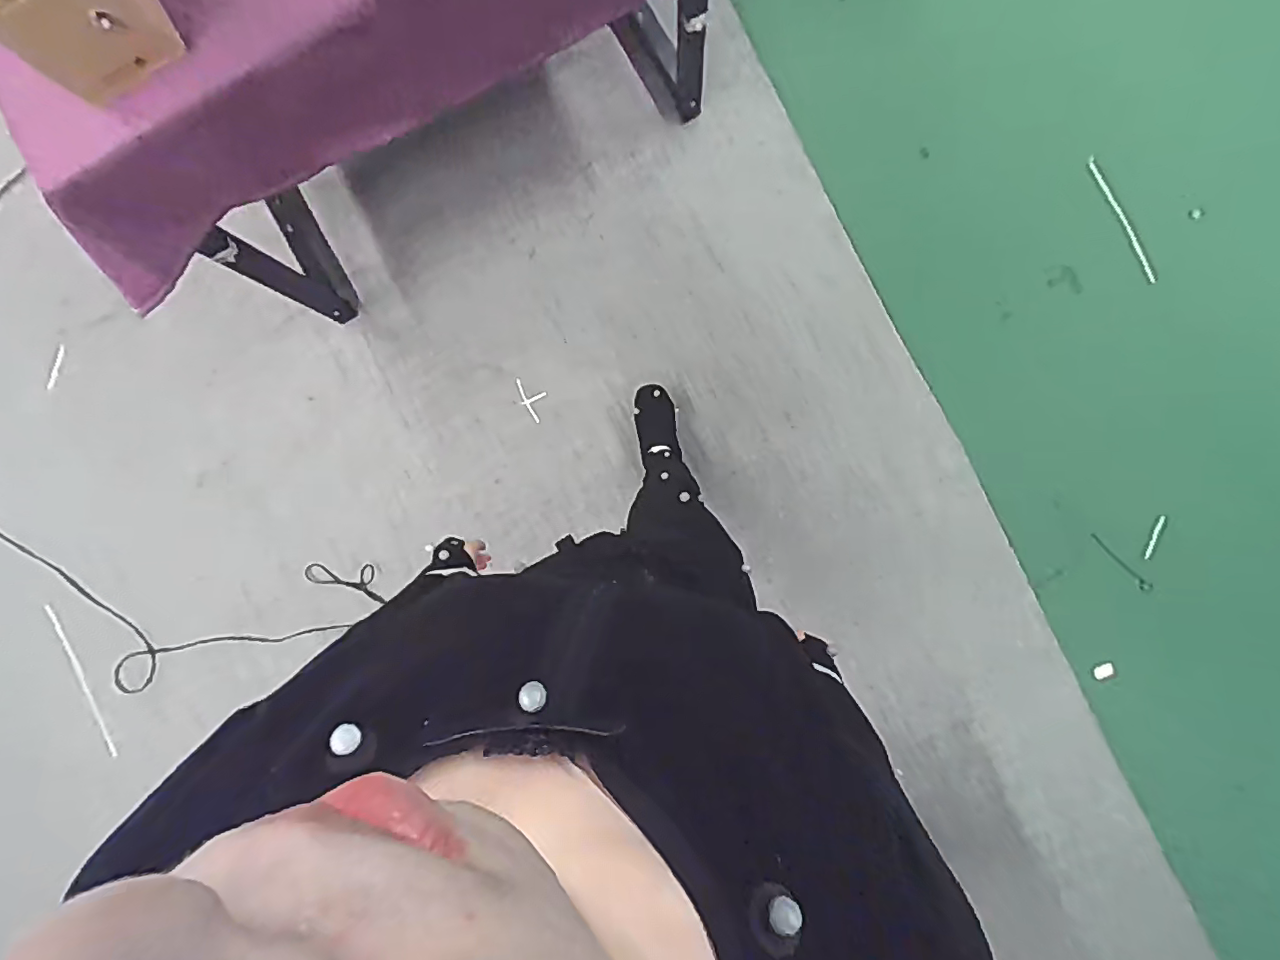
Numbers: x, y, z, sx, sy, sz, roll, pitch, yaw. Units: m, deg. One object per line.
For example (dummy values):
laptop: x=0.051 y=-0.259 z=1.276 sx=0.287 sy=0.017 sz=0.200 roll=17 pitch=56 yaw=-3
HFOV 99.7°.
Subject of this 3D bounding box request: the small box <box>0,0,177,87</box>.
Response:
small box: x=-0.791 y=-0.681 z=0.728 sx=0.168 sy=0.176 sz=0.179 roll=-30 pitch=87 yaw=1
